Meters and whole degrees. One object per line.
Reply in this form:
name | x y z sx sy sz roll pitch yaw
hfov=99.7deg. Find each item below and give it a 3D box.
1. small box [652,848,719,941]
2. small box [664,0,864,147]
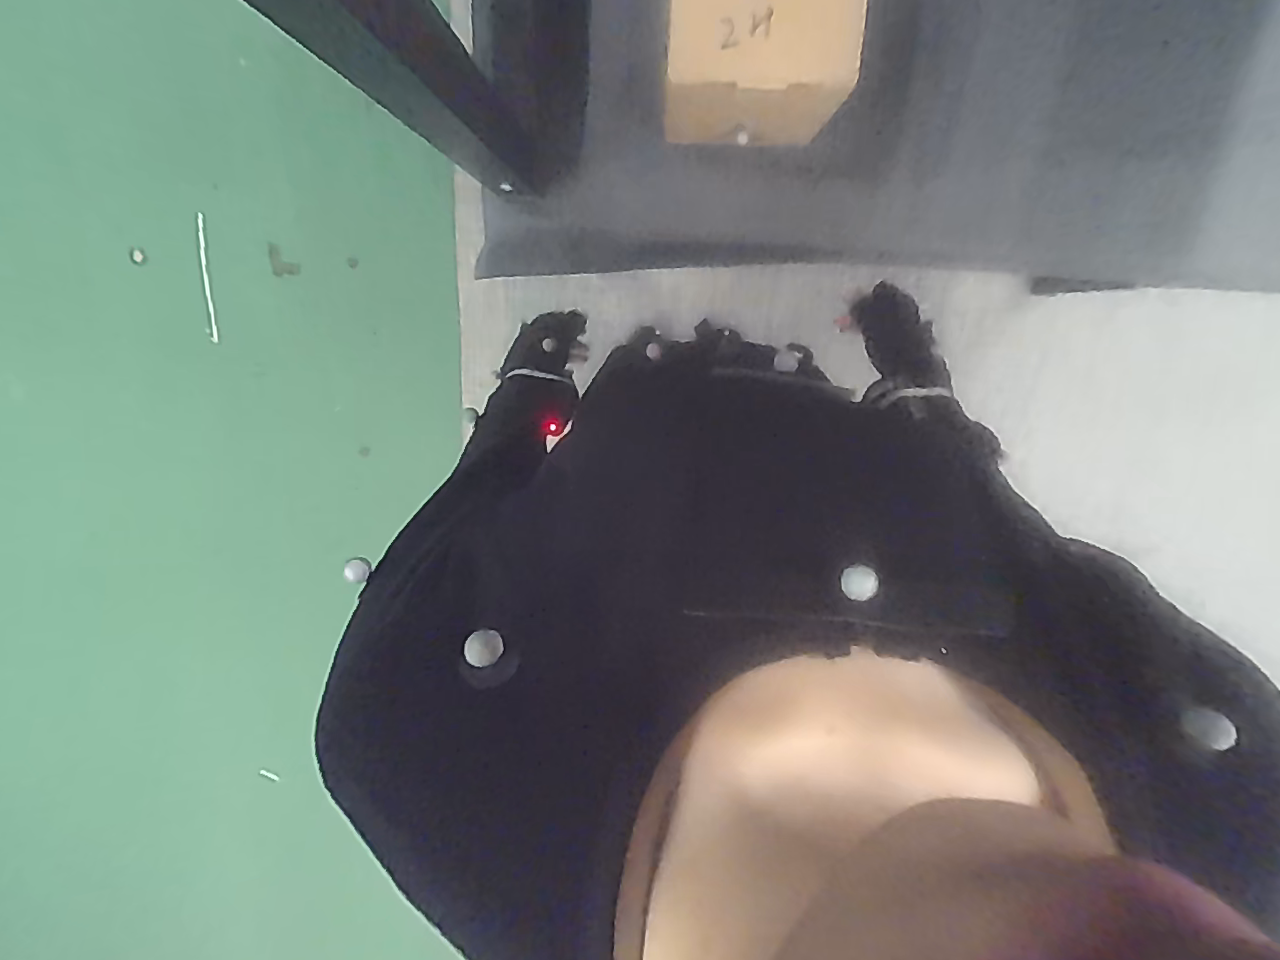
small box | 0.149 1.376 1.806 0.179 0.176 0.168 19 105 -2
small box | 0.110 -0.453 0.527 0.168 0.176 0.179 2 106 2
